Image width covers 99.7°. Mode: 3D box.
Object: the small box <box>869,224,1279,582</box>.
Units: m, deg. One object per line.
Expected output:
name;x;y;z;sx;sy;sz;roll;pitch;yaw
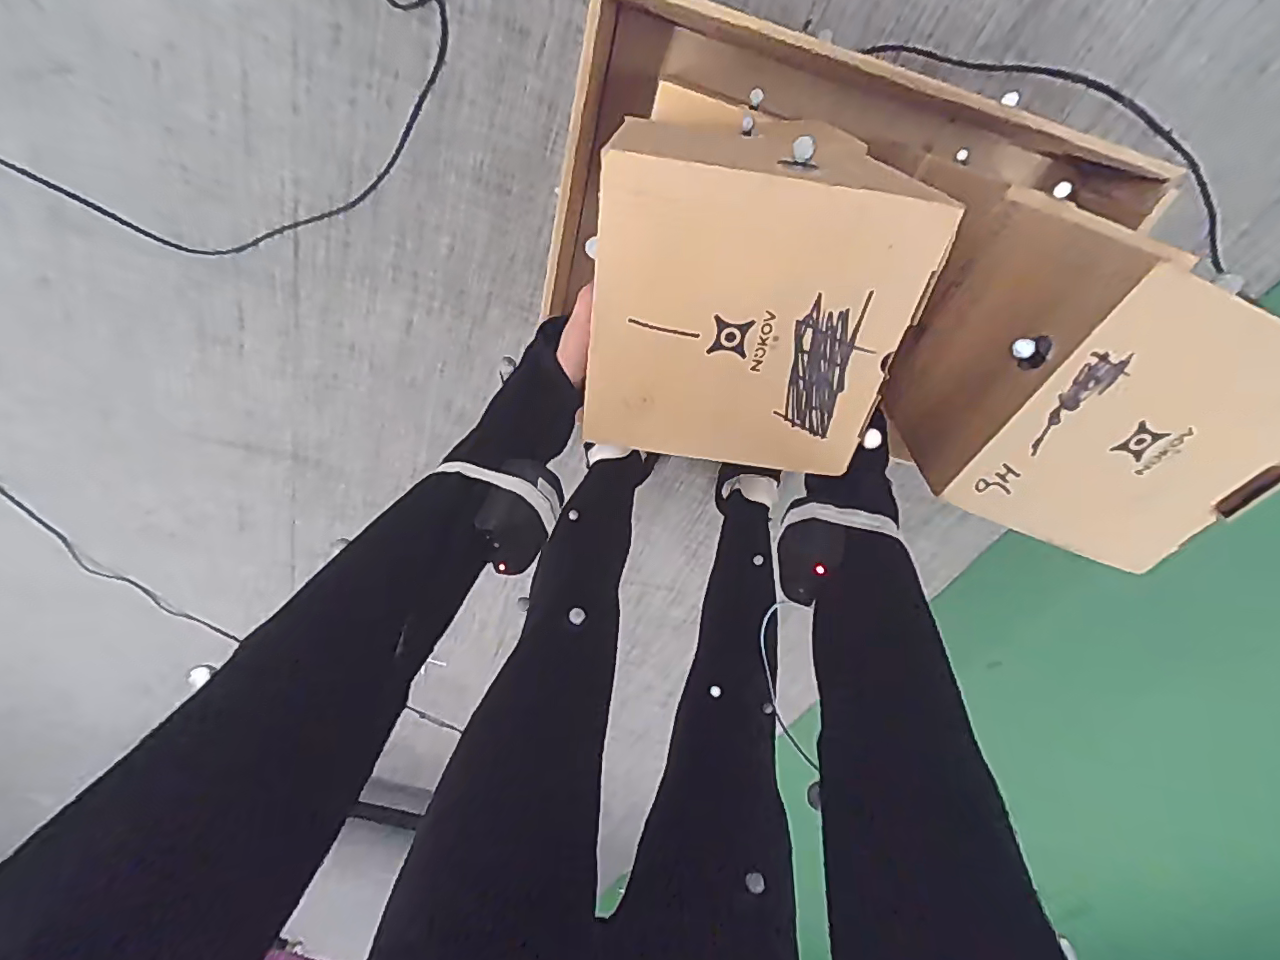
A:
small box;0.301;-0.060;0.391;0.179;0.176;0.168;20;126;-10

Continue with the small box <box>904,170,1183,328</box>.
small box;0.319;-0.169;0.514;0.168;0.176;0.179;17;127;-7

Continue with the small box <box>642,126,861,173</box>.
small box;0.075;-0.221;0.498;0.179;0.176;0.168;2;128;2

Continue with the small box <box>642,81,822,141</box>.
small box;0.080;-0.331;0.618;0.179;0.176;0.168;14;128;-8

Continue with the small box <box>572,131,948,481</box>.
small box;0.057;-0.123;0.366;0.179;0.176;0.168;9;128;-2
